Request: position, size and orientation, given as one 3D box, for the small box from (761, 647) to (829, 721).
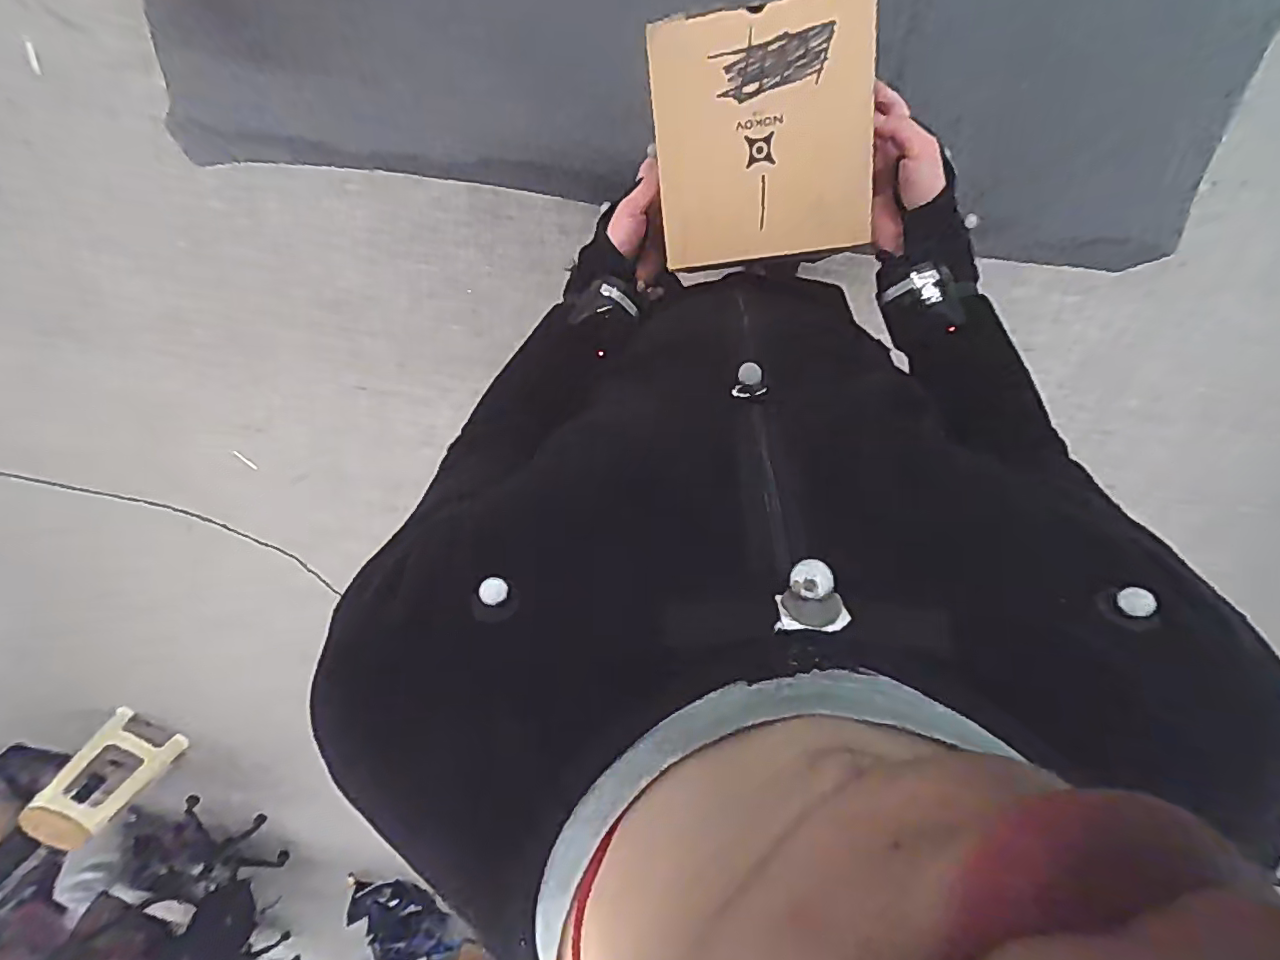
[{"bbox_3d":[0.564,0.747,1.989,0.179,0.176,0.168,20,118,-4],"label":"small box"}]
